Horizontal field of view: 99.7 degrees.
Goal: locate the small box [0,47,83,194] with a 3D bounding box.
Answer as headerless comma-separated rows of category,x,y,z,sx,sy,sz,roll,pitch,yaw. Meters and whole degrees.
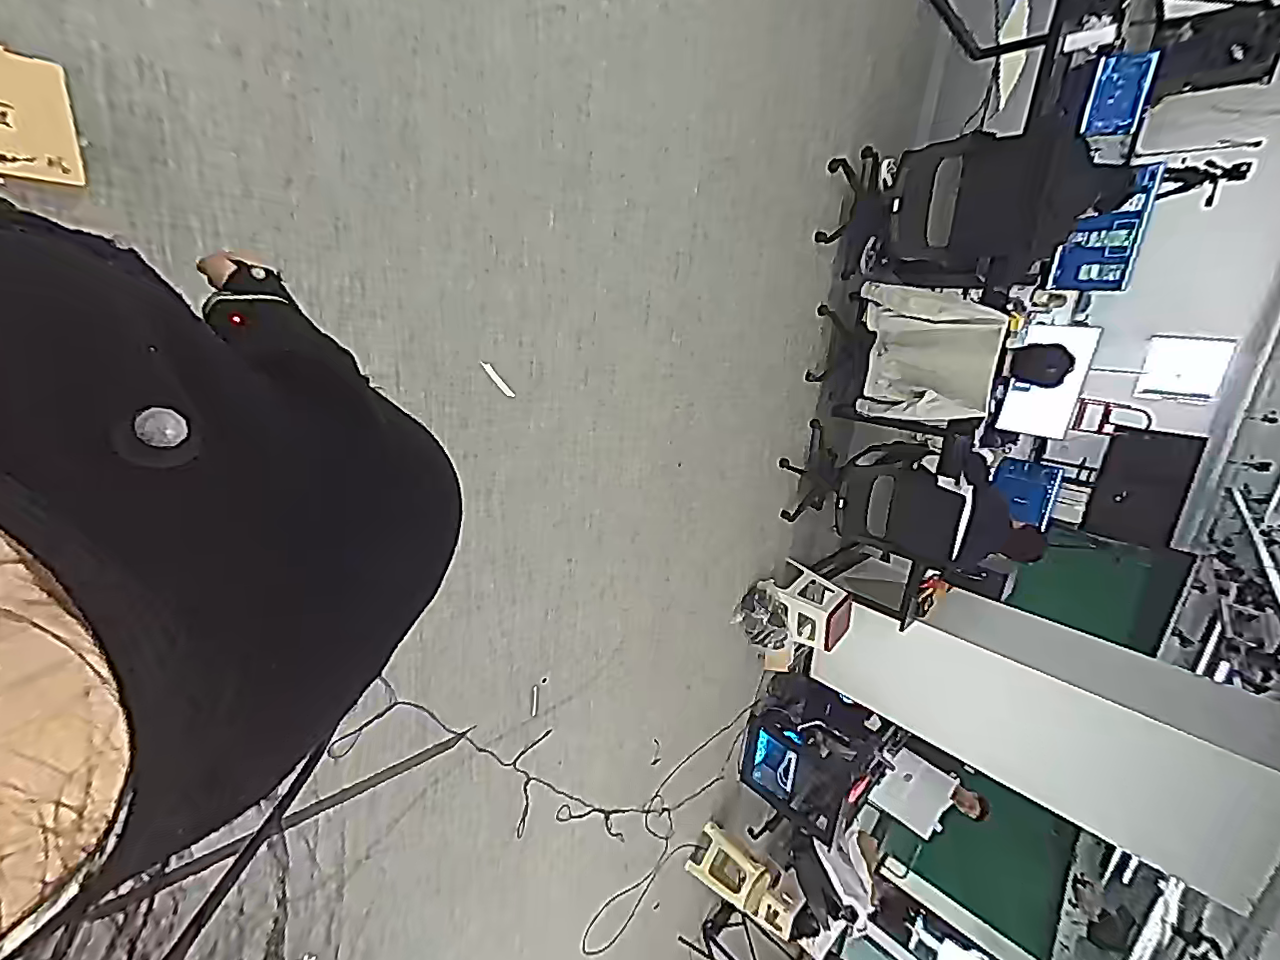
small box,-1.032,-0.578,0.865,0.168,0.176,0.179,-14,113,-45
